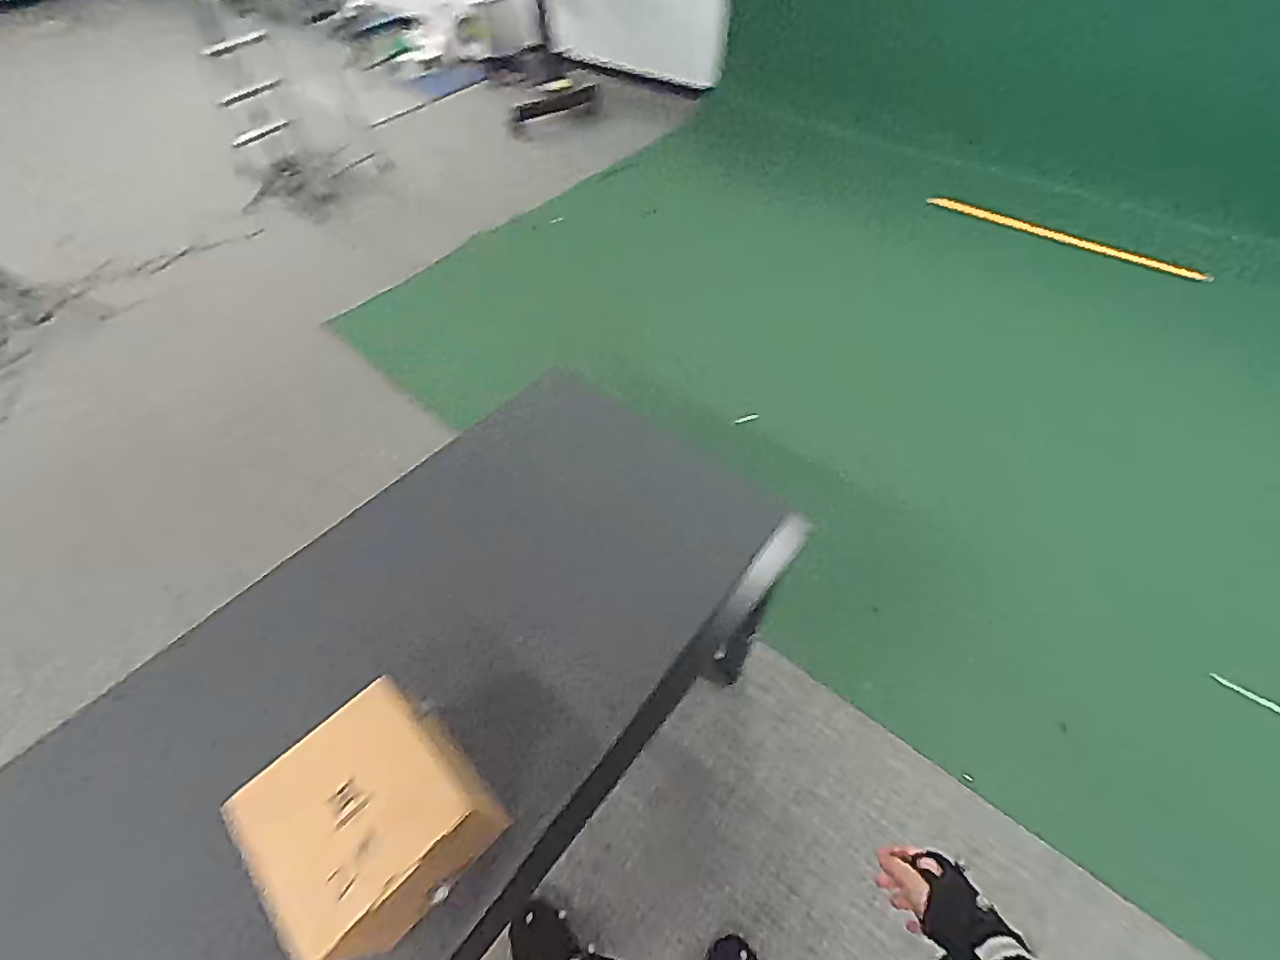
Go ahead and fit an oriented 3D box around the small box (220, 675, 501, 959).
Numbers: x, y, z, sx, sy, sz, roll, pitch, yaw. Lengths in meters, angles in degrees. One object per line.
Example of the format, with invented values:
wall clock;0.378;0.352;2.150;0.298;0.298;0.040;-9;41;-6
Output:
small box;-0.274;0.346;0.563;0.179;0.176;0.168;38;63;26
